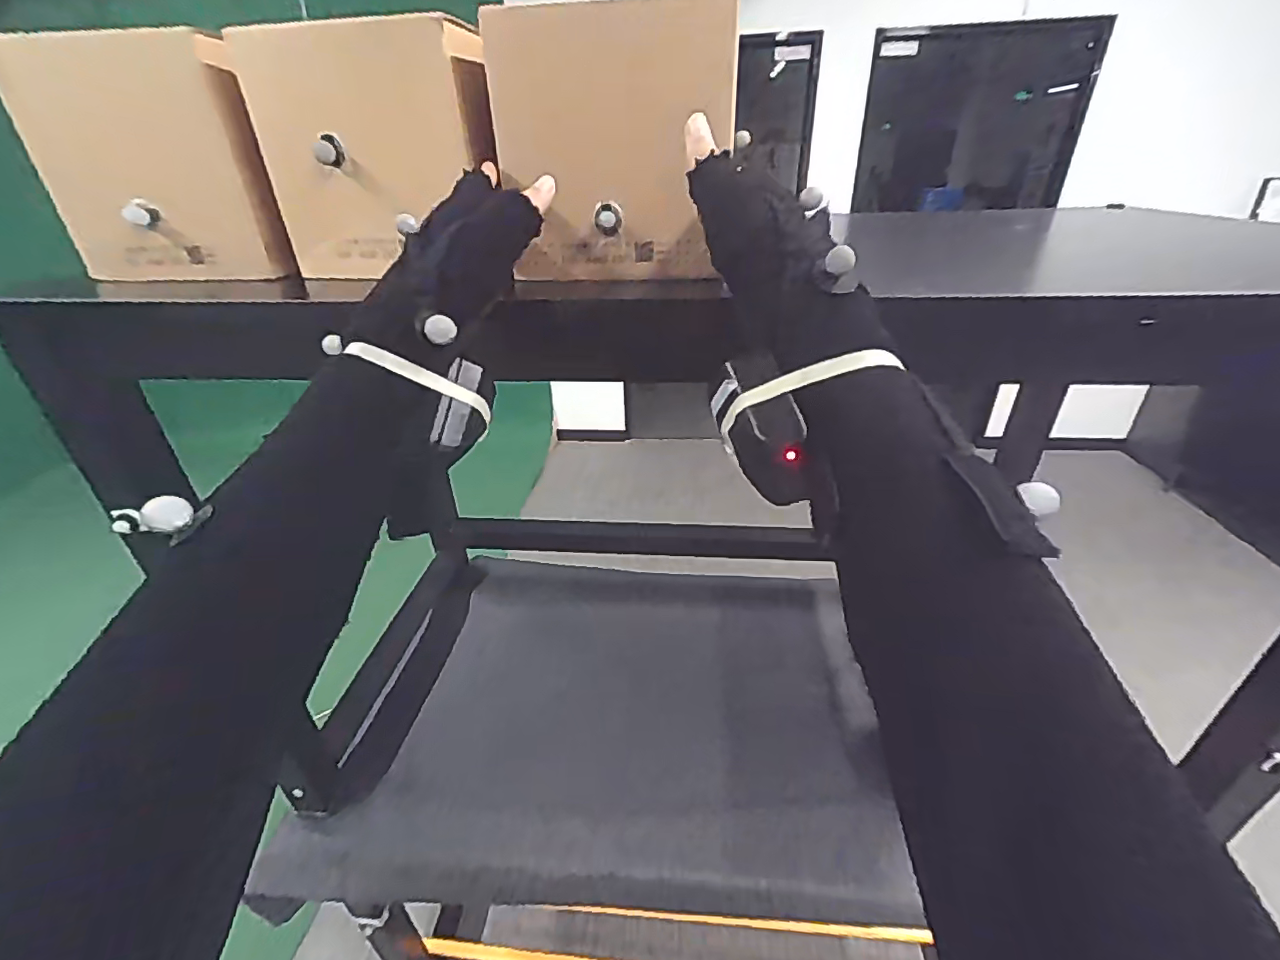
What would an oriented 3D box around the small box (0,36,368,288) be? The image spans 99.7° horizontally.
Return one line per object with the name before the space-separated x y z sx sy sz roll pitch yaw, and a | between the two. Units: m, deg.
small box | -0.376 -0.281 0.492 0.168 0.176 0.179 1 32 4
